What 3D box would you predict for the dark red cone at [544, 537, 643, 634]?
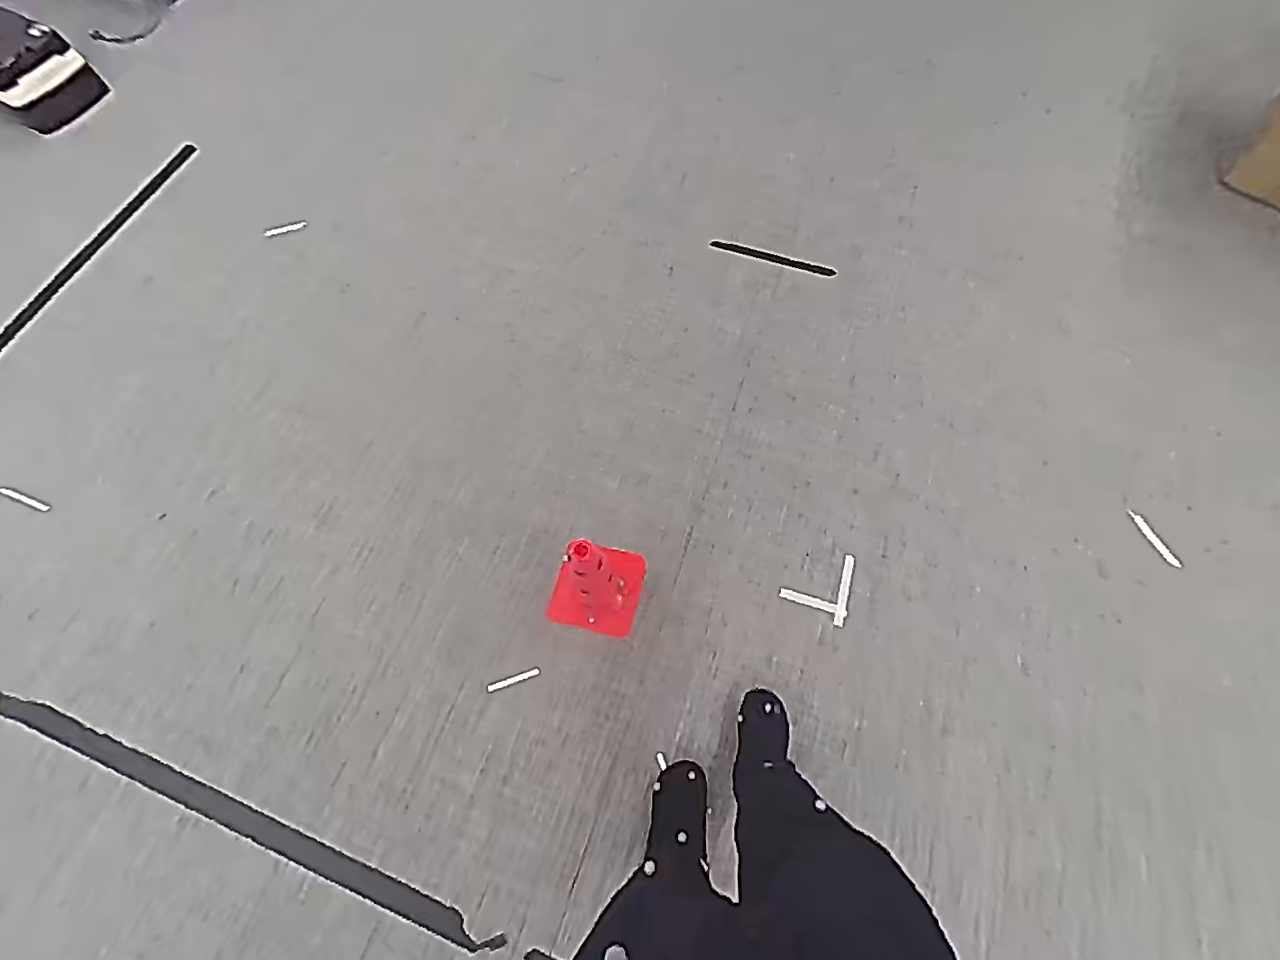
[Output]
[{"bbox_3d":[-0.105,0.183,1.098,0.202,0.394,0.201,12,70,5],"label":"dark red cone"}]
